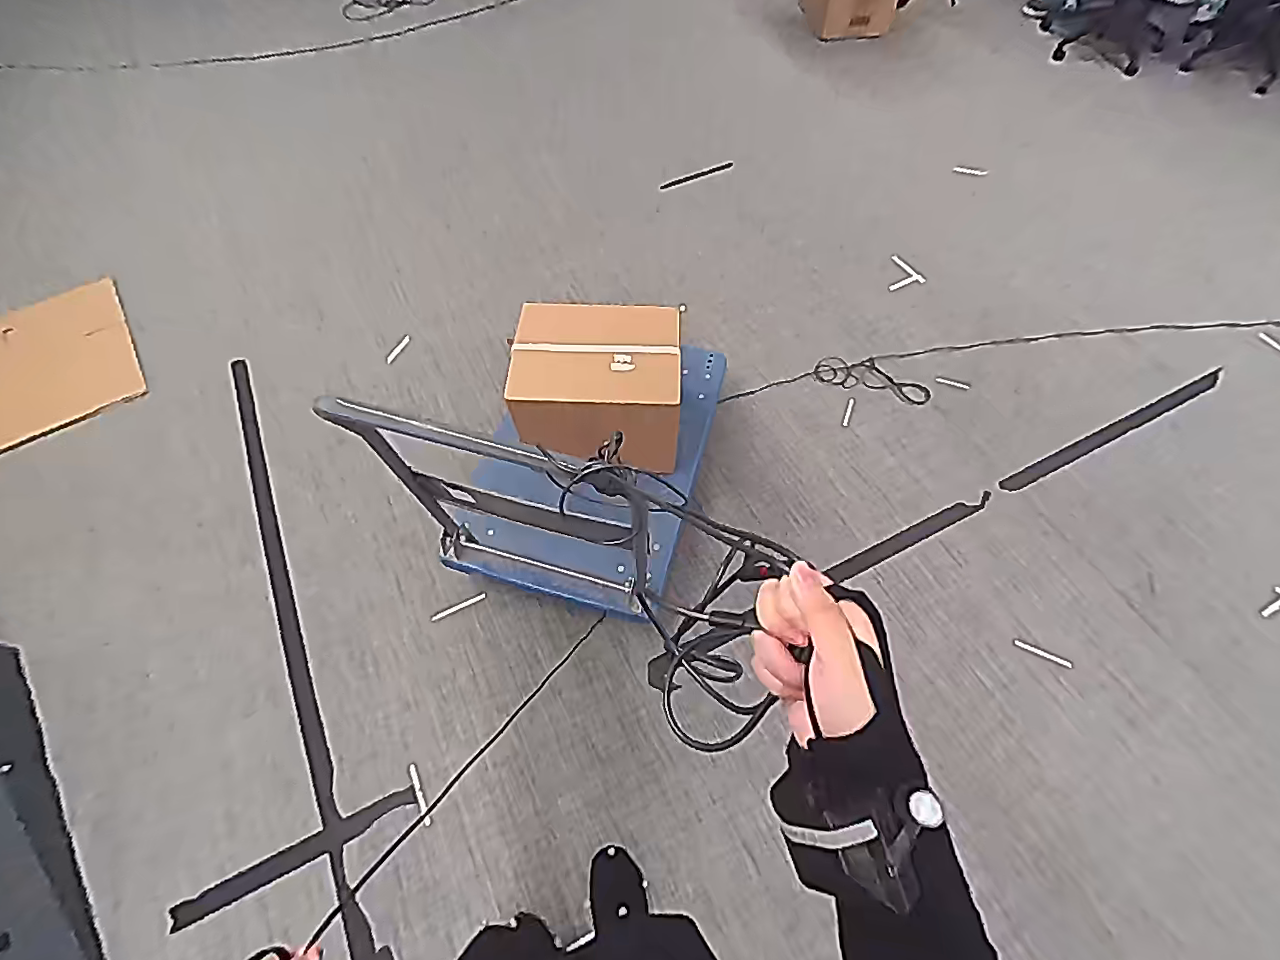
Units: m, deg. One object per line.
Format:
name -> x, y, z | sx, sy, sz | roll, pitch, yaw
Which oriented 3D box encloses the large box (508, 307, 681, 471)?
large box -> -0.103, -0.230, 1.427 | 0.408, 0.320, 0.320 | 2, 61, 1
